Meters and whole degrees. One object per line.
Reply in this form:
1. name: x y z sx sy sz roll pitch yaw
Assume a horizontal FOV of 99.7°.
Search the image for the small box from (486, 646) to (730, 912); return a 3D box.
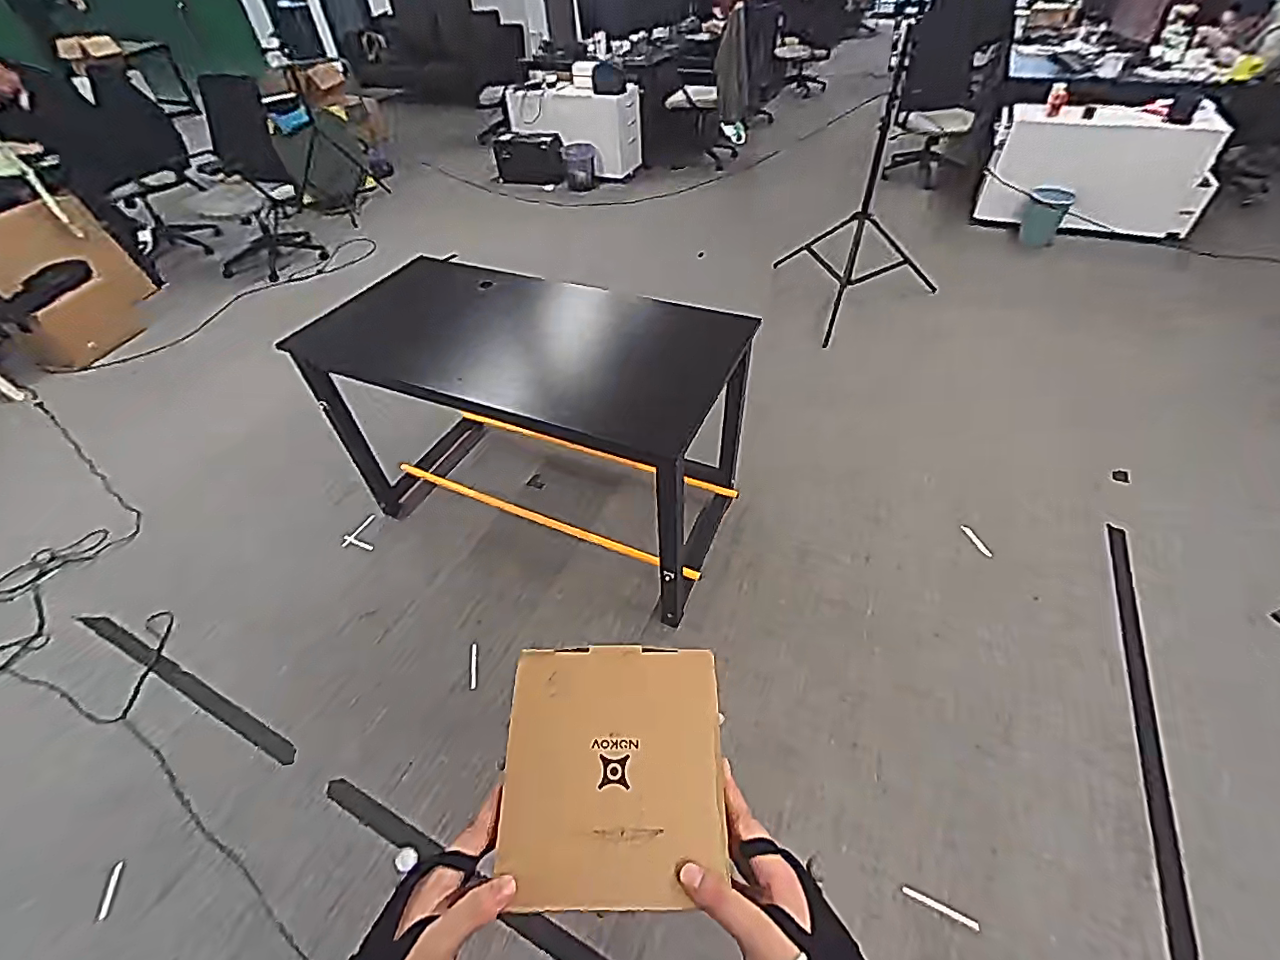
1. small box: -0.023 0.254 0.469 0.168 0.176 0.179 0 58 -1
